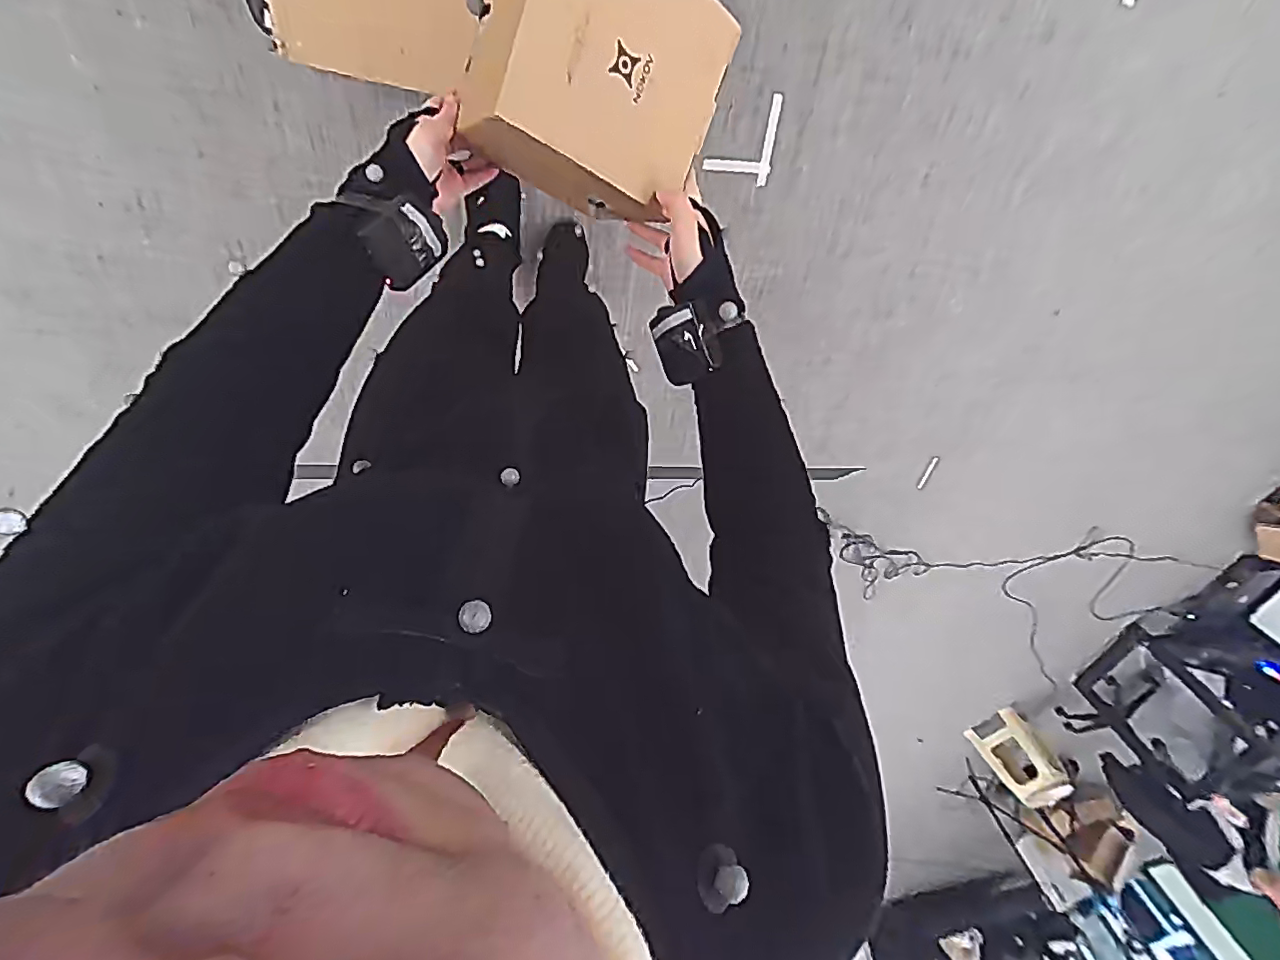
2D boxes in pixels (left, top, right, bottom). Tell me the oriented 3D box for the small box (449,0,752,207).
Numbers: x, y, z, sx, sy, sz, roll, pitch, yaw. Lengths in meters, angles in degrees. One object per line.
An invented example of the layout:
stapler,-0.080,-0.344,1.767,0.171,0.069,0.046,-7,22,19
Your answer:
small box,-0.044,-0.362,0.472,0.179,0.176,0.168,12,106,-36
